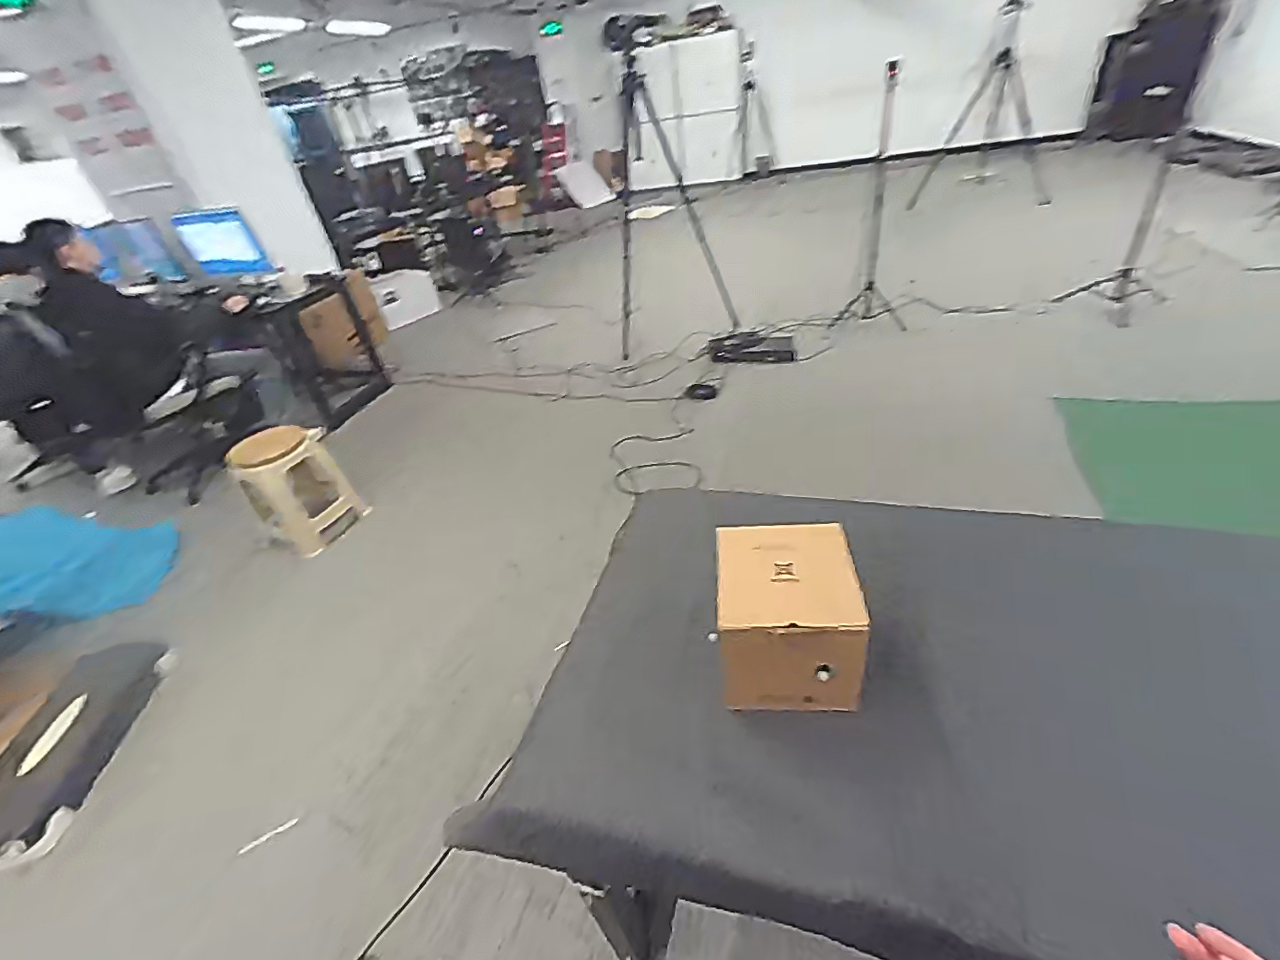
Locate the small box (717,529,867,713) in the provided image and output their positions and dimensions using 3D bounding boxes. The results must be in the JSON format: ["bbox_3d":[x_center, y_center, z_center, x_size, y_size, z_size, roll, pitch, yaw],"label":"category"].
[{"bbox_3d":[0.190,0.186,0.716,0.168,0.176,0.179,-3,34,8],"label":"small box"}]
